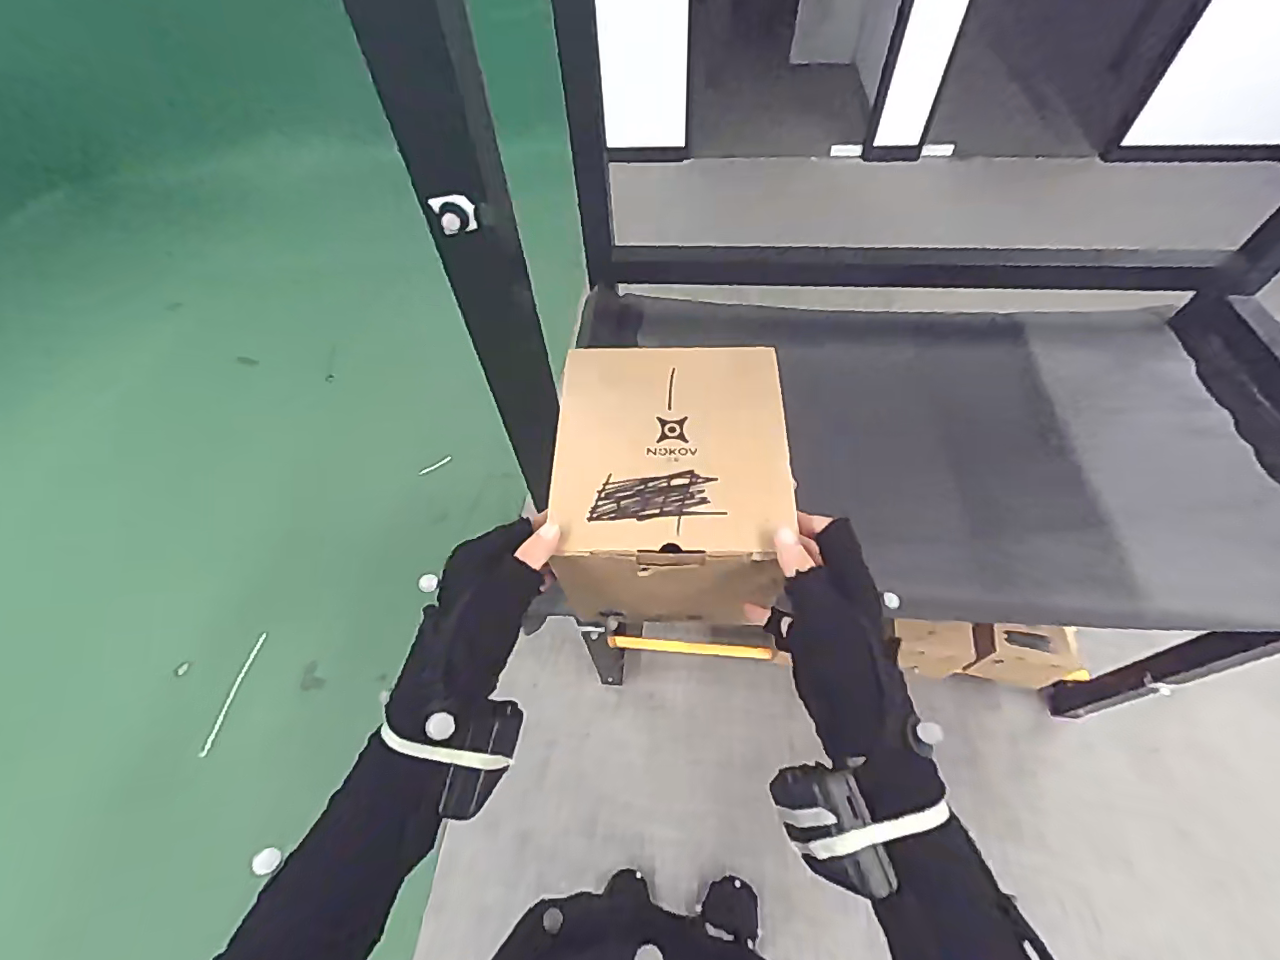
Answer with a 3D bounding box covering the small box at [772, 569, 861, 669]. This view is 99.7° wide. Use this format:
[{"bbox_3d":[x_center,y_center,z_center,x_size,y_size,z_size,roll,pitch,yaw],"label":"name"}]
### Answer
[{"bbox_3d":[0.411,0.333,1.289,0.168,0.176,0.179,5,58,6],"label":"small box"}]
